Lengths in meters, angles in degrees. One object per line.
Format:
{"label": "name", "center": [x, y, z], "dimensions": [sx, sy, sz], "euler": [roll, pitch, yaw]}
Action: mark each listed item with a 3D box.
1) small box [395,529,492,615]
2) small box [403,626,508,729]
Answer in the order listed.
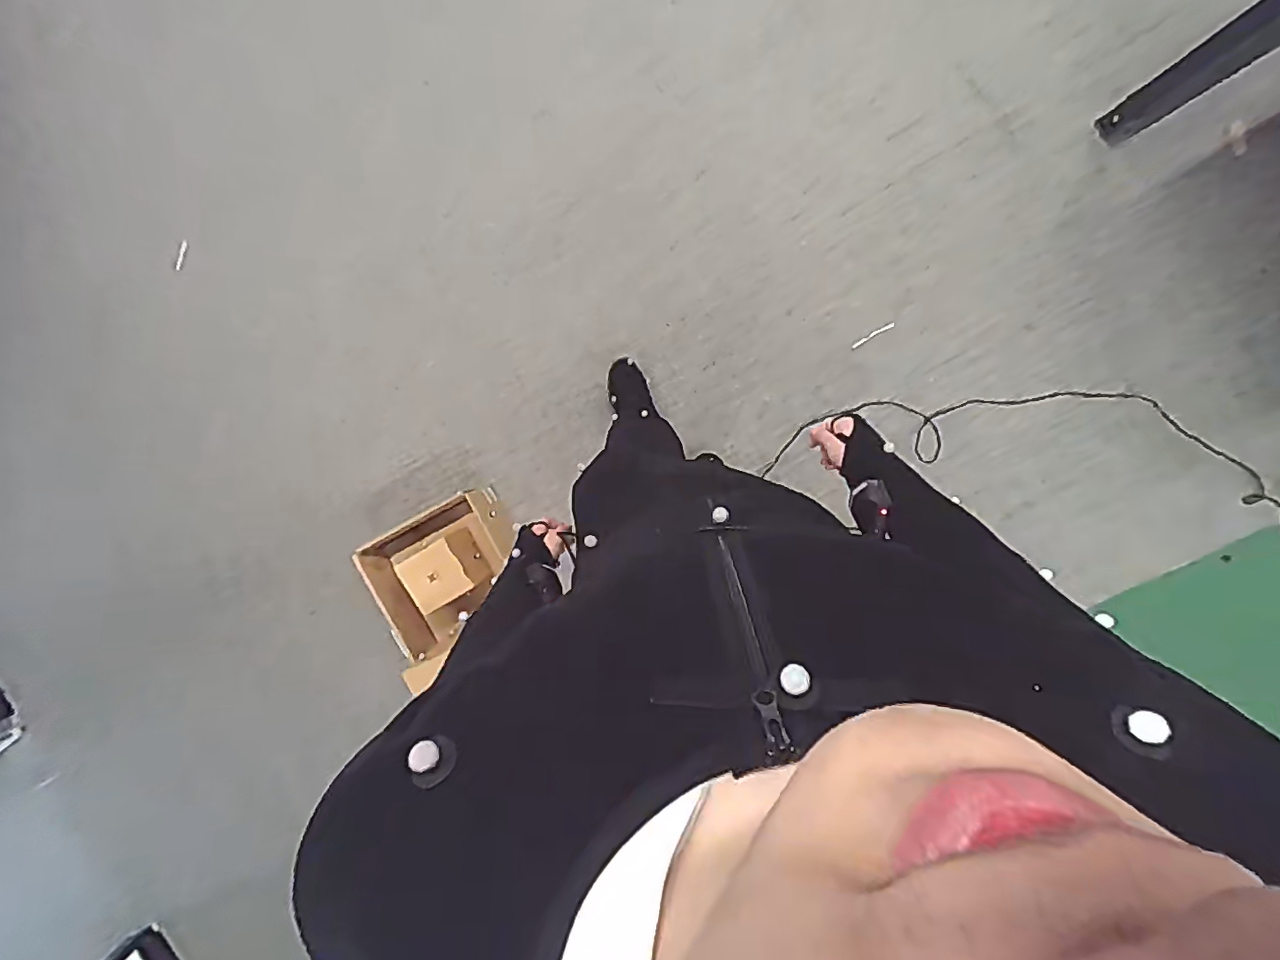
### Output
{"label": "small box", "center": [-0.569, 0.262, 1.584], "dimensions": [0.179, 0.176, 0.168], "euler": [-31, 92, 6]}
{"label": "small box", "center": [-0.481, 0.516, 1.432], "dimensions": [0.179, 0.176, 0.168], "euler": [-26, 92, 7]}
